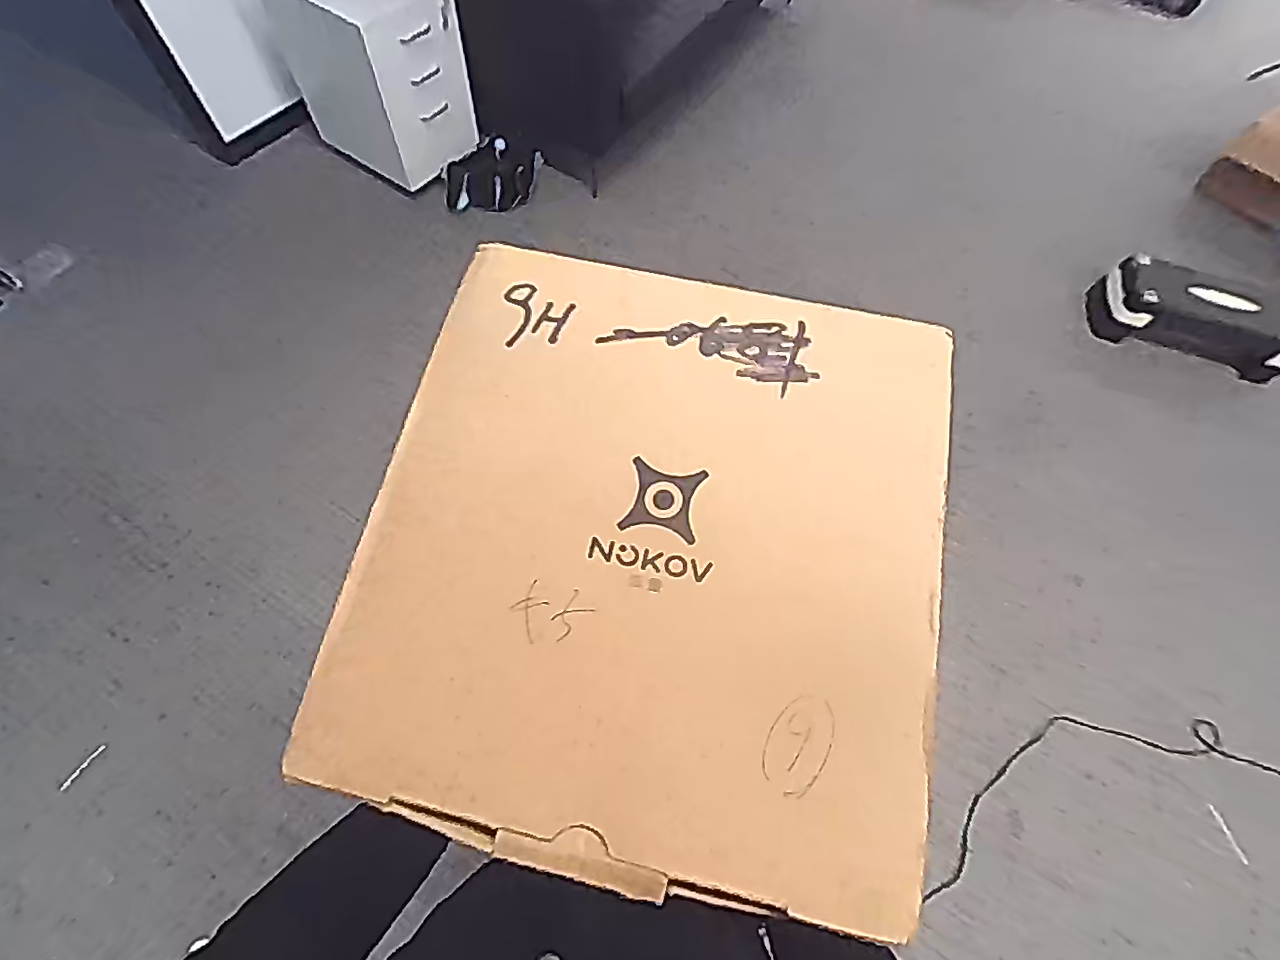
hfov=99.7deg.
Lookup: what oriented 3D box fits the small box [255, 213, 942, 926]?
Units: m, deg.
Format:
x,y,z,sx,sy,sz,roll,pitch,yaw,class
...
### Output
x,y,z,sx,sy,sz,roll,pitch,yaw,class
-0.003,0.029,0.232,0.168,0.176,0.179,12,75,3,small box
